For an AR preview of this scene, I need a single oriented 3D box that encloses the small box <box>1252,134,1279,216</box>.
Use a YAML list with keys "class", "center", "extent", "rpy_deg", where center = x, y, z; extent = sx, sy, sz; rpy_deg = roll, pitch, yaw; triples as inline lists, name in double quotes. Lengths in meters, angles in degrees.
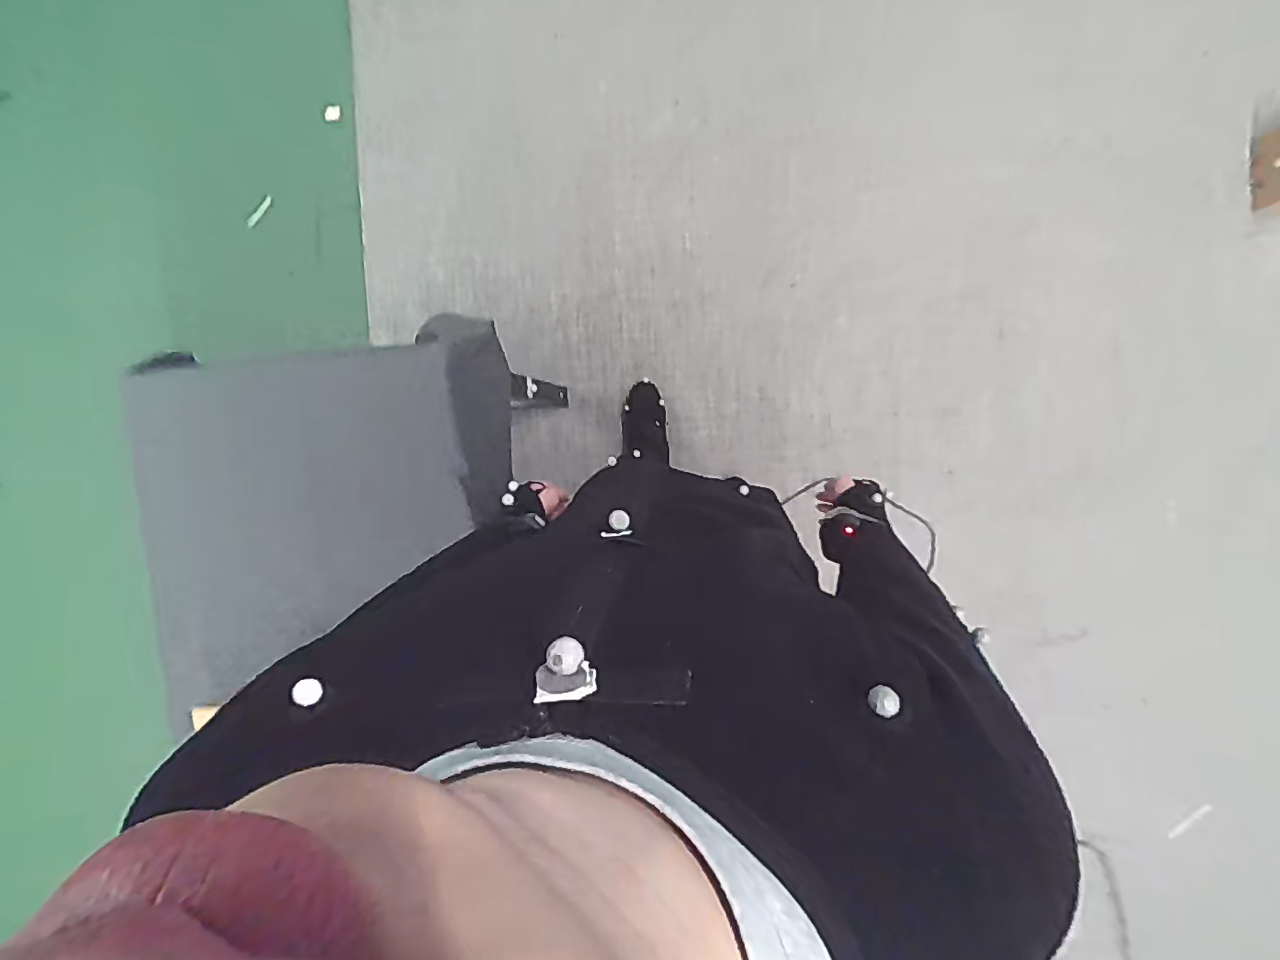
- class: "small box"
  center: [1.497, -0.692, 1.169]
  extent: [0.179, 0.176, 0.168]
  rpy_deg: [-3, 94, 10]
